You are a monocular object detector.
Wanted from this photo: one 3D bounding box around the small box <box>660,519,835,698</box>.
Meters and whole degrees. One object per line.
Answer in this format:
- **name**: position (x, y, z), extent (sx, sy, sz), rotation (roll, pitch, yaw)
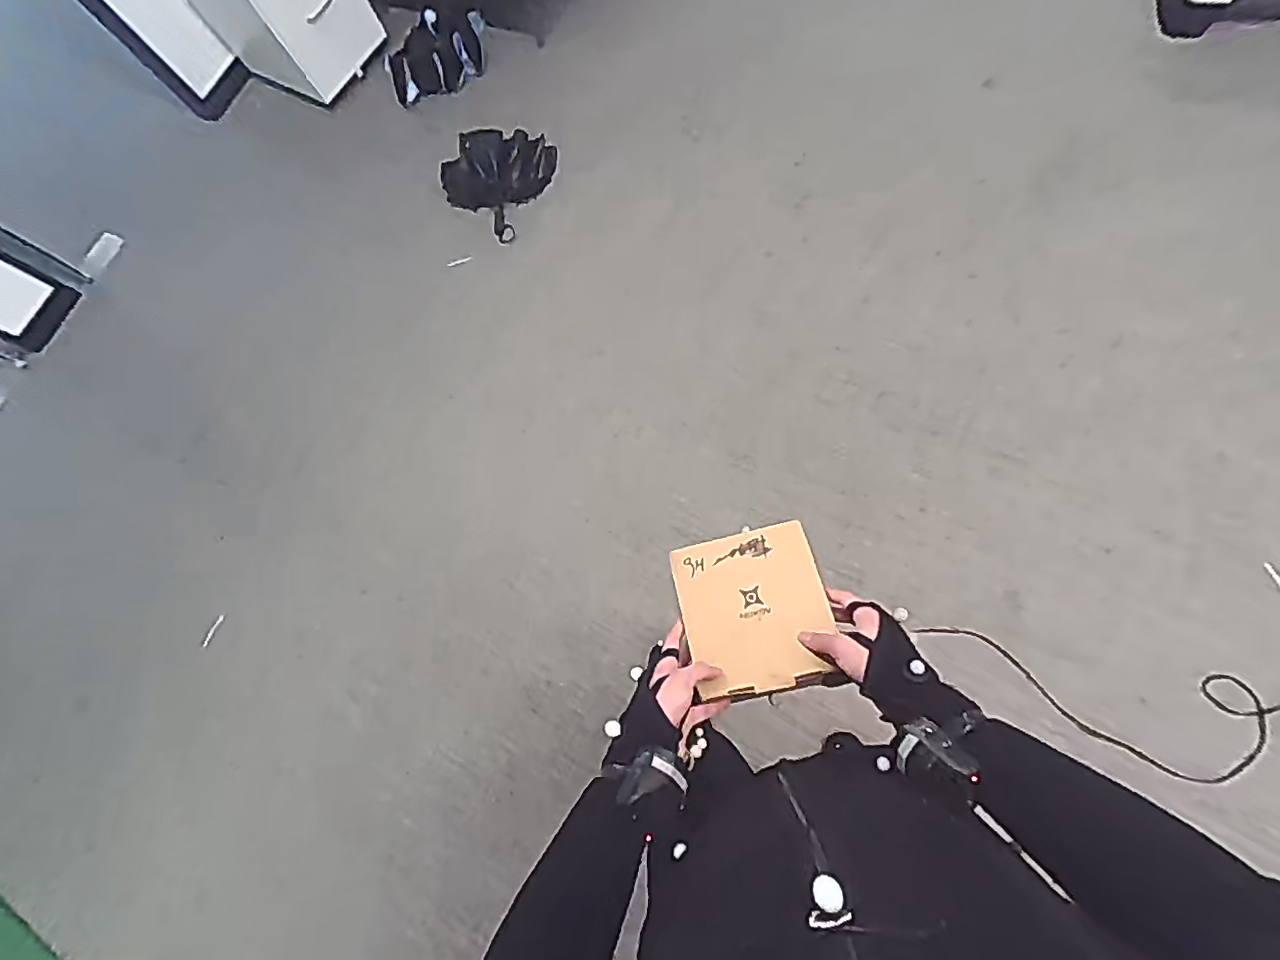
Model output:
- **small box**: position (0.135, 0.173, 0.687), extent (0.168, 0.176, 0.179), rotation (-15, 63, 7)
